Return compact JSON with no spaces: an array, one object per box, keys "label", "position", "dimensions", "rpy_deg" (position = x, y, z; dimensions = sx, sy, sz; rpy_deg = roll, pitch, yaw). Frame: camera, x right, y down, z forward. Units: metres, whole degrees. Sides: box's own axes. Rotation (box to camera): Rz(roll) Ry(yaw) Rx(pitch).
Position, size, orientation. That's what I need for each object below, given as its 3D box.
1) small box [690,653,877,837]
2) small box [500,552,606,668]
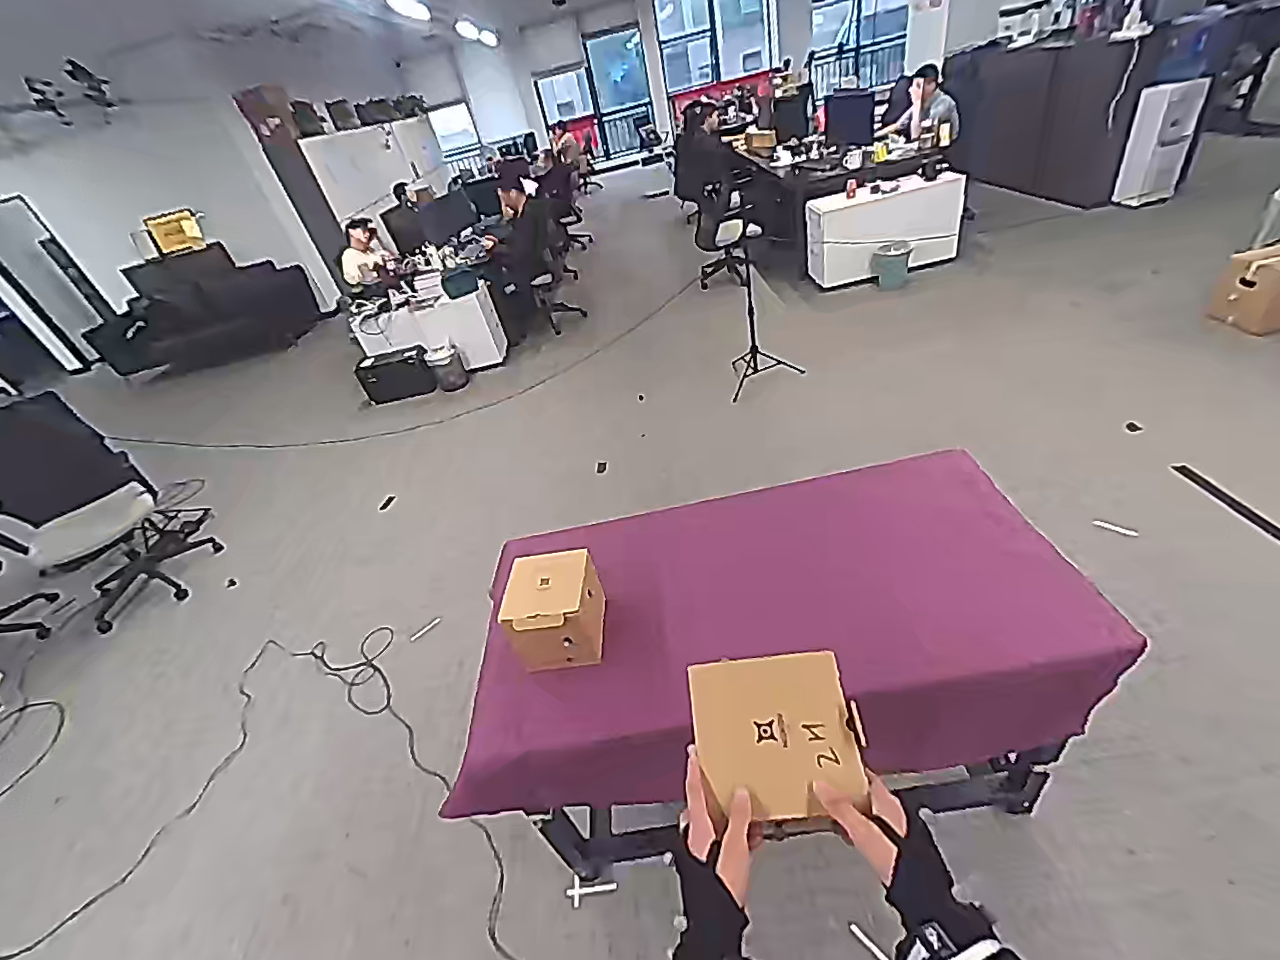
[{"label":"small box","position":[0.162,0.326,0.656],"dimensions":[0.179,0.176,0.168],"rpy_deg":[-8,53,6]},{"label":"small box","position":[-0.174,0.281,1.144],"dimensions":[0.168,0.176,0.179],"rpy_deg":[-8,36,8]}]
